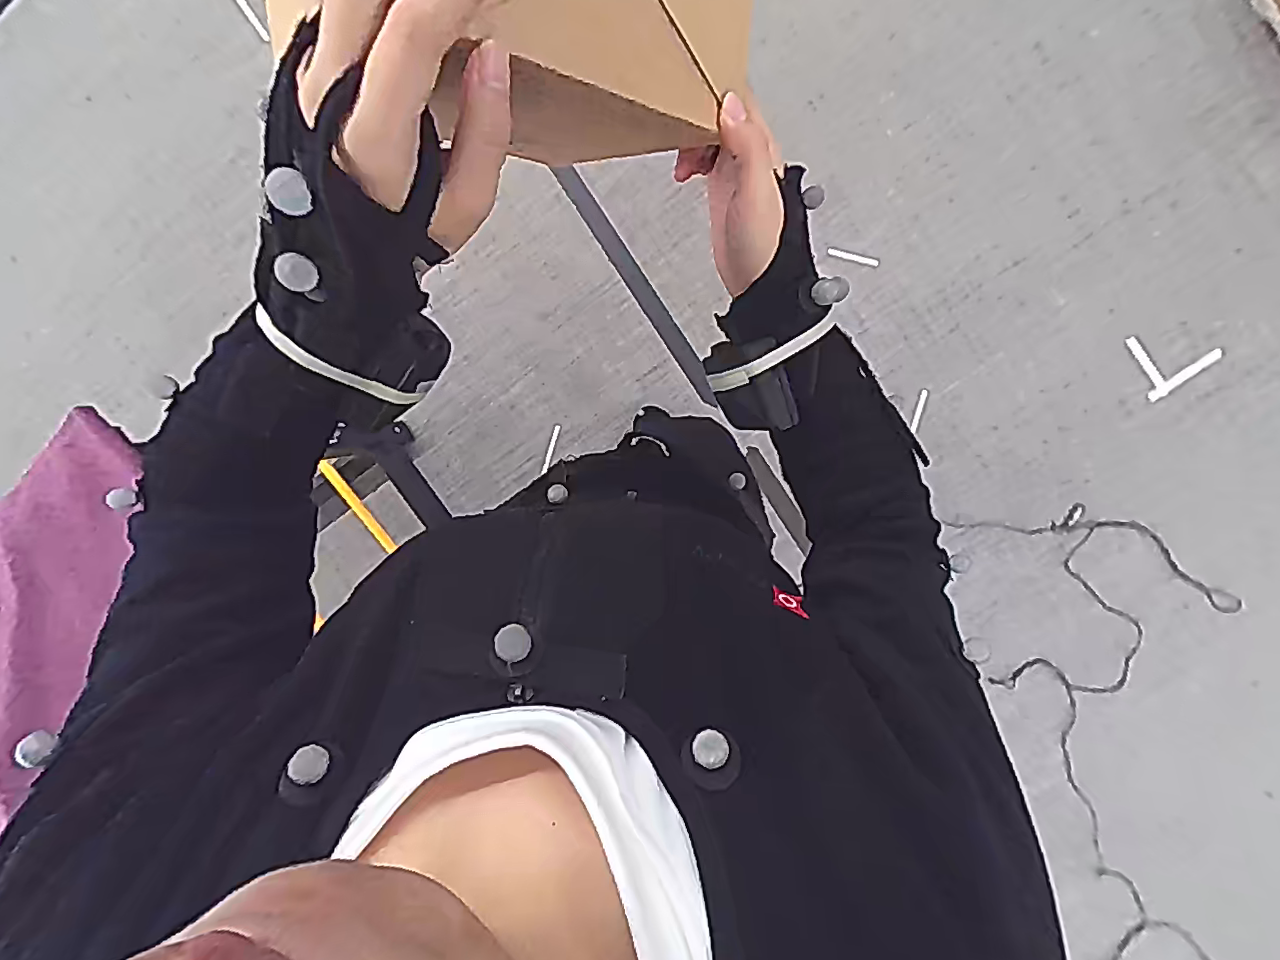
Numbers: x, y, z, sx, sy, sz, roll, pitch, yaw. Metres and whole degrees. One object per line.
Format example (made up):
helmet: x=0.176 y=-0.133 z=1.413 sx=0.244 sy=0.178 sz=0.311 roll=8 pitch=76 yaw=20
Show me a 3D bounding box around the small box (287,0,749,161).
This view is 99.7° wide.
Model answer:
small box: x=-0.055 y=-0.268 z=0.263 sx=0.176 sy=0.179 sz=0.168 roll=20 pitch=116 yaw=39
